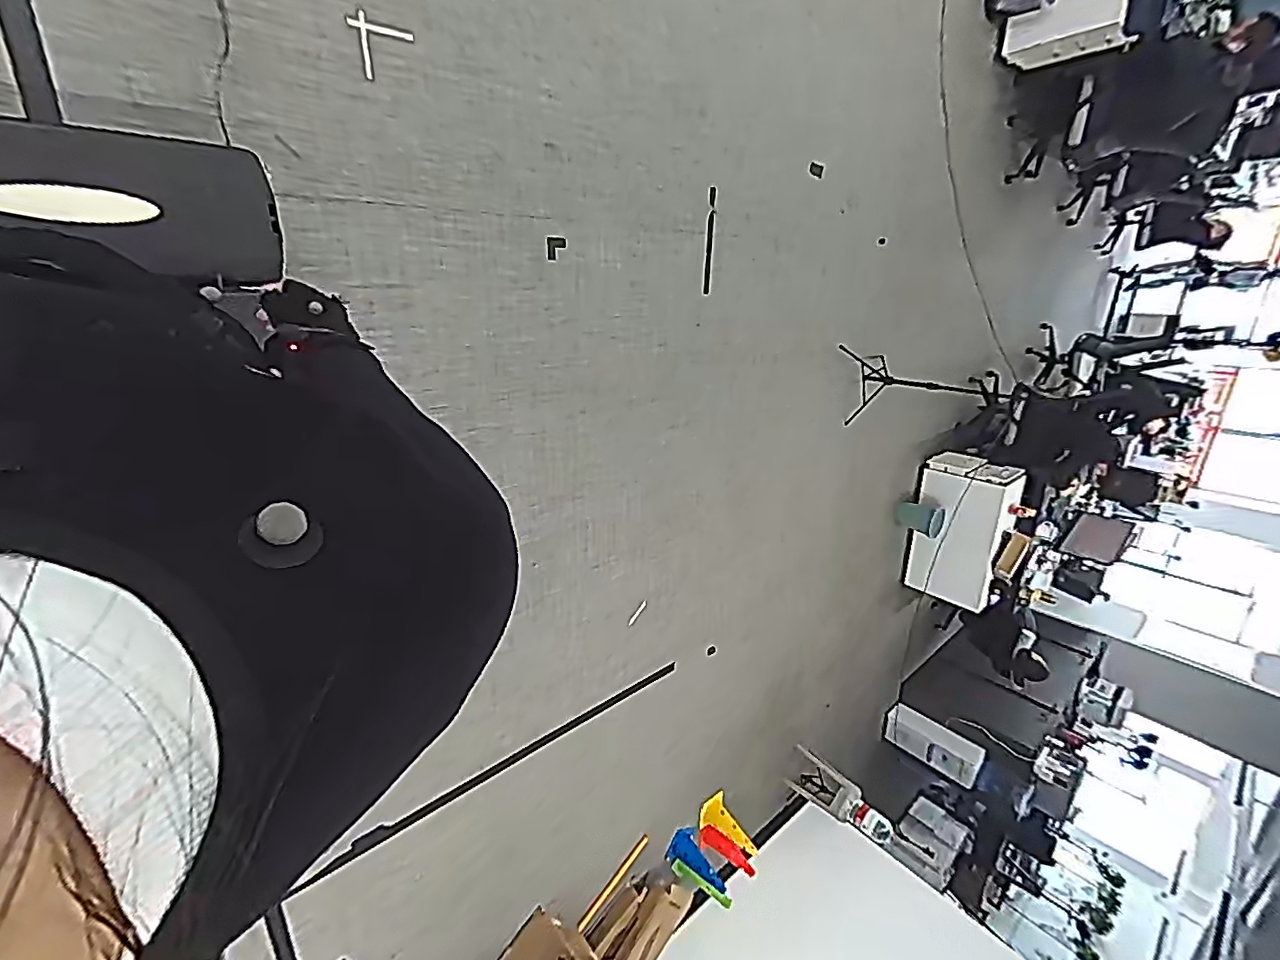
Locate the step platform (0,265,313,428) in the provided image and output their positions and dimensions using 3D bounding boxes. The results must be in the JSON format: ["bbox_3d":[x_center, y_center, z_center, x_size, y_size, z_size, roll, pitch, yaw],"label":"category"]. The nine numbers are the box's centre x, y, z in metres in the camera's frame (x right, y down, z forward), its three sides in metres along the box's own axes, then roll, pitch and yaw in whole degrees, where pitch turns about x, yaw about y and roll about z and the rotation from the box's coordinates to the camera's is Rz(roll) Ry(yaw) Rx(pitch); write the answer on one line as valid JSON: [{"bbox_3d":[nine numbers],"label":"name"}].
[{"bbox_3d":[-1.068,-0.283,1.104,0.684,0.204,0.286,-16,114,-36],"label":"step platform"}]
